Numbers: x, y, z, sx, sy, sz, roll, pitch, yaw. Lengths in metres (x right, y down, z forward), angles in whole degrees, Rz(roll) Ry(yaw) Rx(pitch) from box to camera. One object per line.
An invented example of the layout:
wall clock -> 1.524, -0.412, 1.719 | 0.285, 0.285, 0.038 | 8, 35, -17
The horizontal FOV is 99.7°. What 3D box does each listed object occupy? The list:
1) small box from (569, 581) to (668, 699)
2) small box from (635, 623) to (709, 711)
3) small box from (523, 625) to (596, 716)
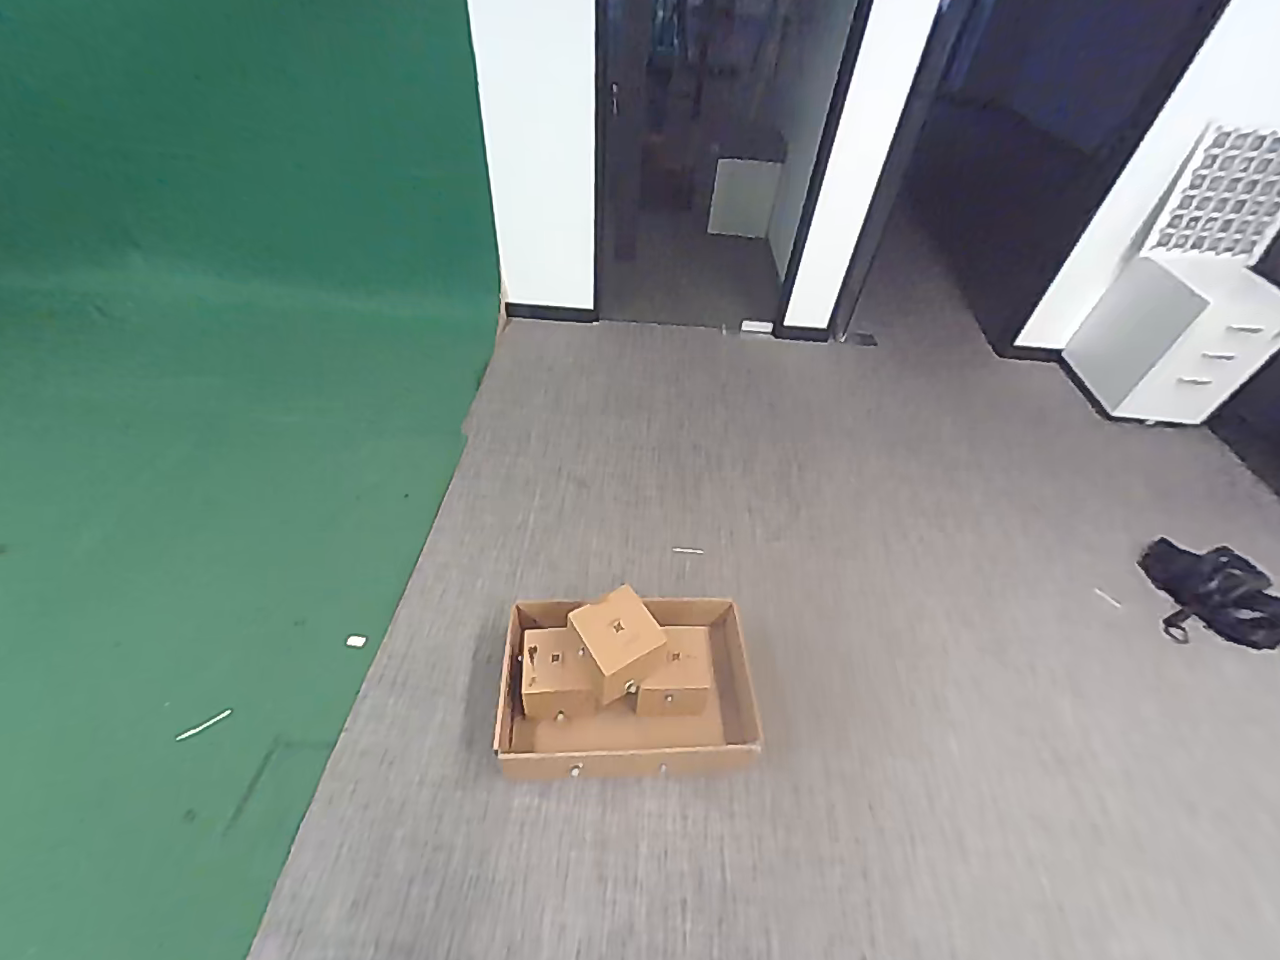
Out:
small box -> -0.057, 0.380, 1.278 | 0.168, 0.176, 0.179 | -24, 54, -25
small box -> 0.076, 0.489, 1.407 | 0.179, 0.176, 0.168 | 1, 46, -4
small box -> -0.204, 0.488, 1.383 | 0.179, 0.176, 0.168 | 0, 45, -9
